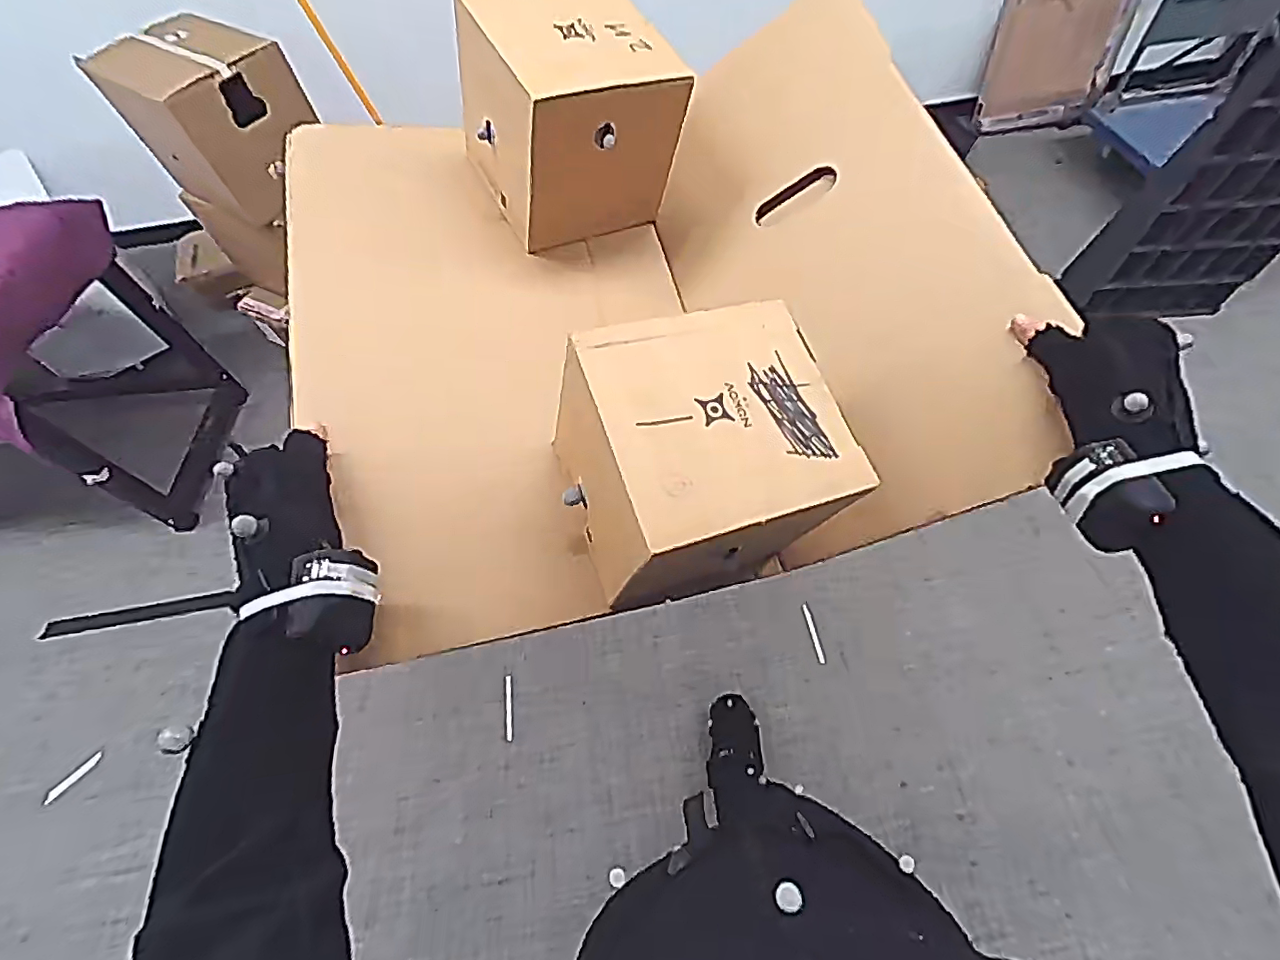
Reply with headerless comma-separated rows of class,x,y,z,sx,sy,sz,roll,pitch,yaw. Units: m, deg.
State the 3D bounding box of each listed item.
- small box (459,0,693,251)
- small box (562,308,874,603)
small box,-0.074,-0.378,0.586,0.179,0.176,0.168,-25,74,-22
small box,0.044,-0.013,0.447,0.179,0.176,0.168,-15,71,-18
